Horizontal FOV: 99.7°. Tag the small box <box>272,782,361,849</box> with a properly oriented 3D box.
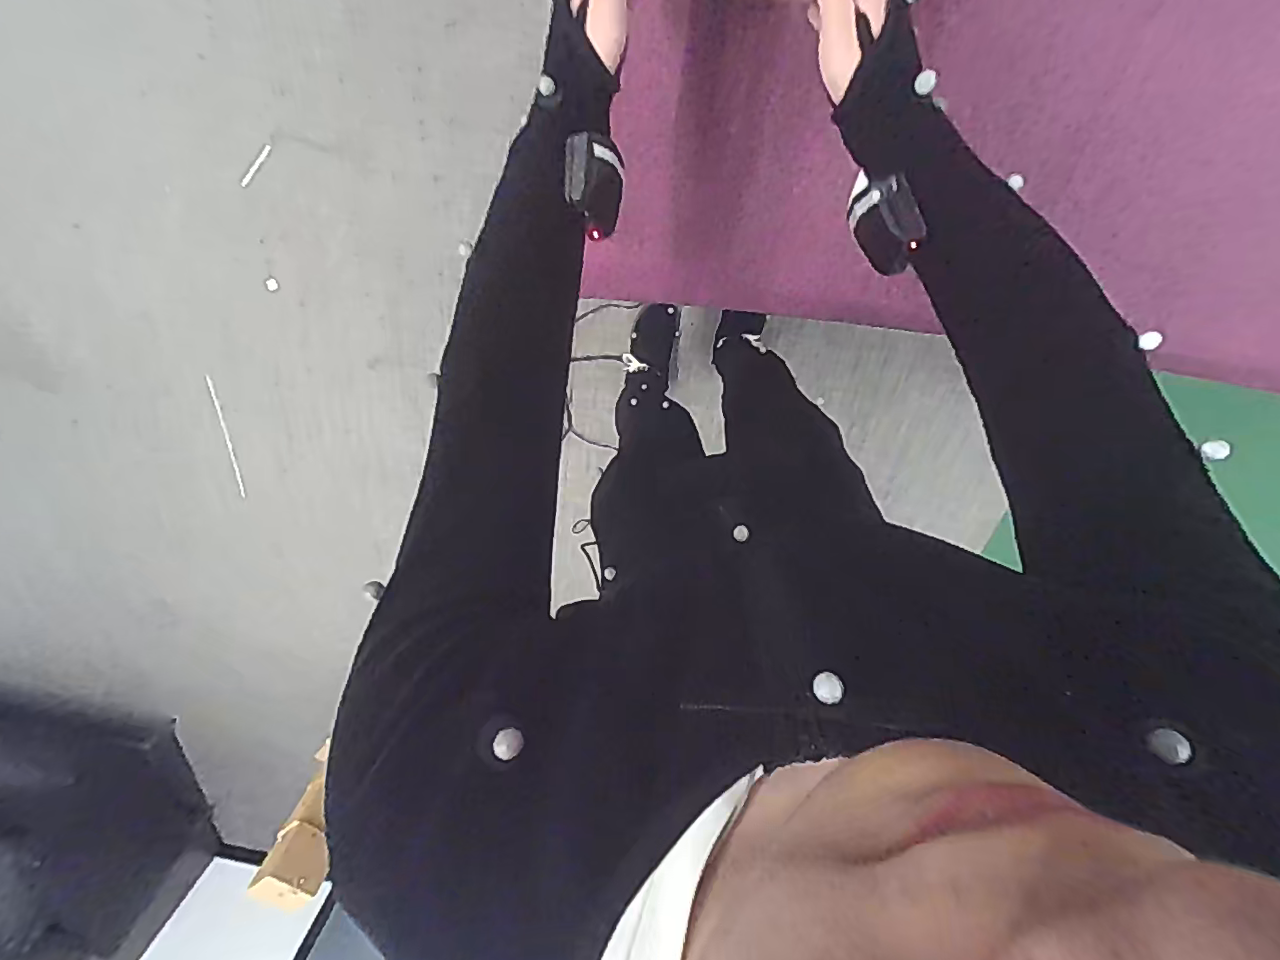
[{"bbox_3d":[-1.135,1.200,1.906,0.179,0.176,0.168,41,116,-16],"label":"small box"}]

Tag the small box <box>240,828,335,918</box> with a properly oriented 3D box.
[{"bbox_3d":[-1.138,1.276,1.759,0.168,0.176,0.179,42,116,-17],"label":"small box"}]
